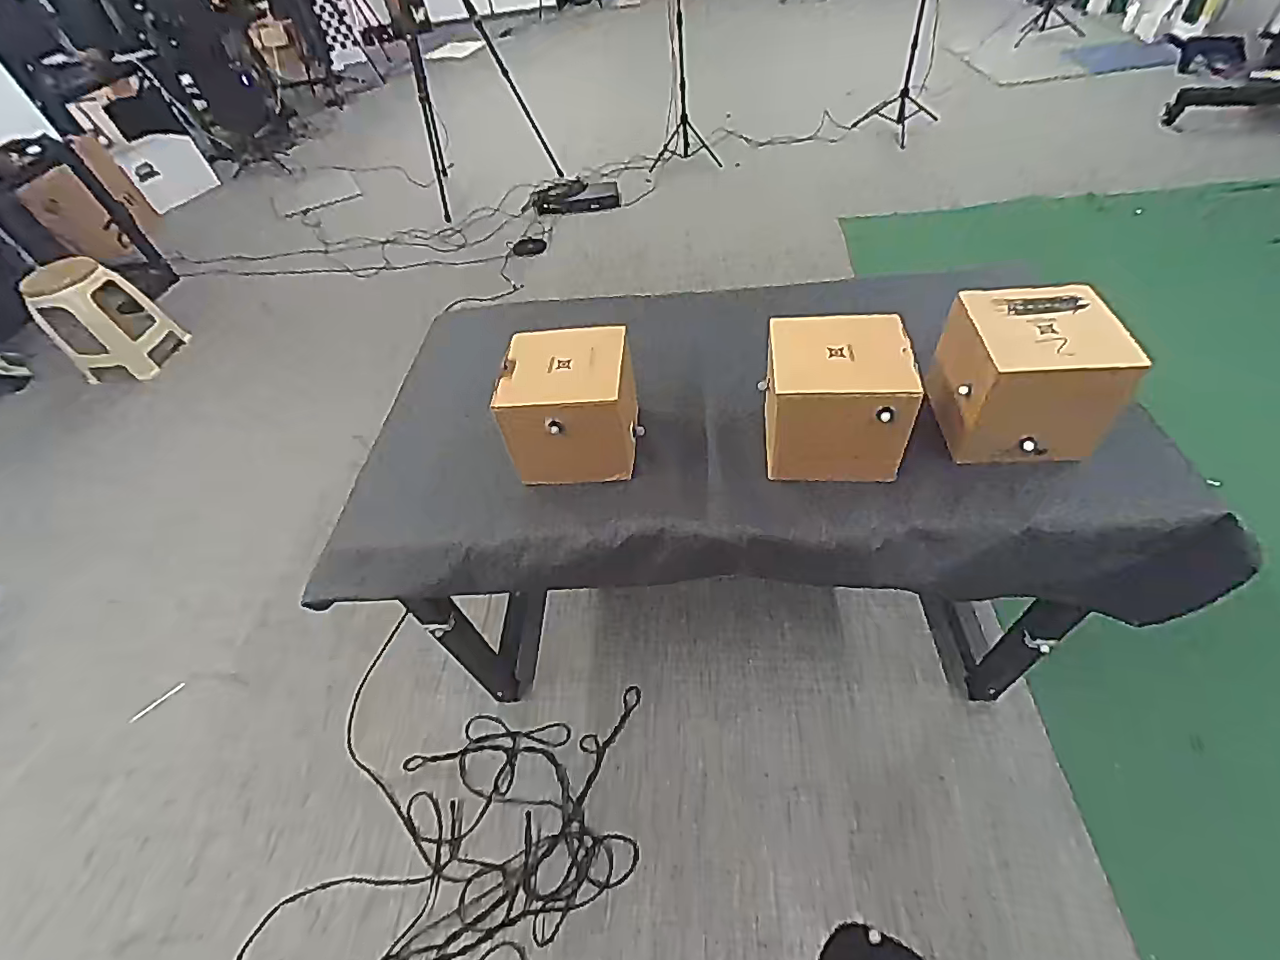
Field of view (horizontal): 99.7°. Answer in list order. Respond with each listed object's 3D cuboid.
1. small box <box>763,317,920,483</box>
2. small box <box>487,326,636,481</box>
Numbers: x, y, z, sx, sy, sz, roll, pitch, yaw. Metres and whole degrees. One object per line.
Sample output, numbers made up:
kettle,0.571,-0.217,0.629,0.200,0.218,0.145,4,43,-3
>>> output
small box,0.265,-0.109,0.762,0.179,0.176,0.168,2,49,9
small box,-0.105,-0.111,0.815,0.179,0.176,0.168,-1,50,6
